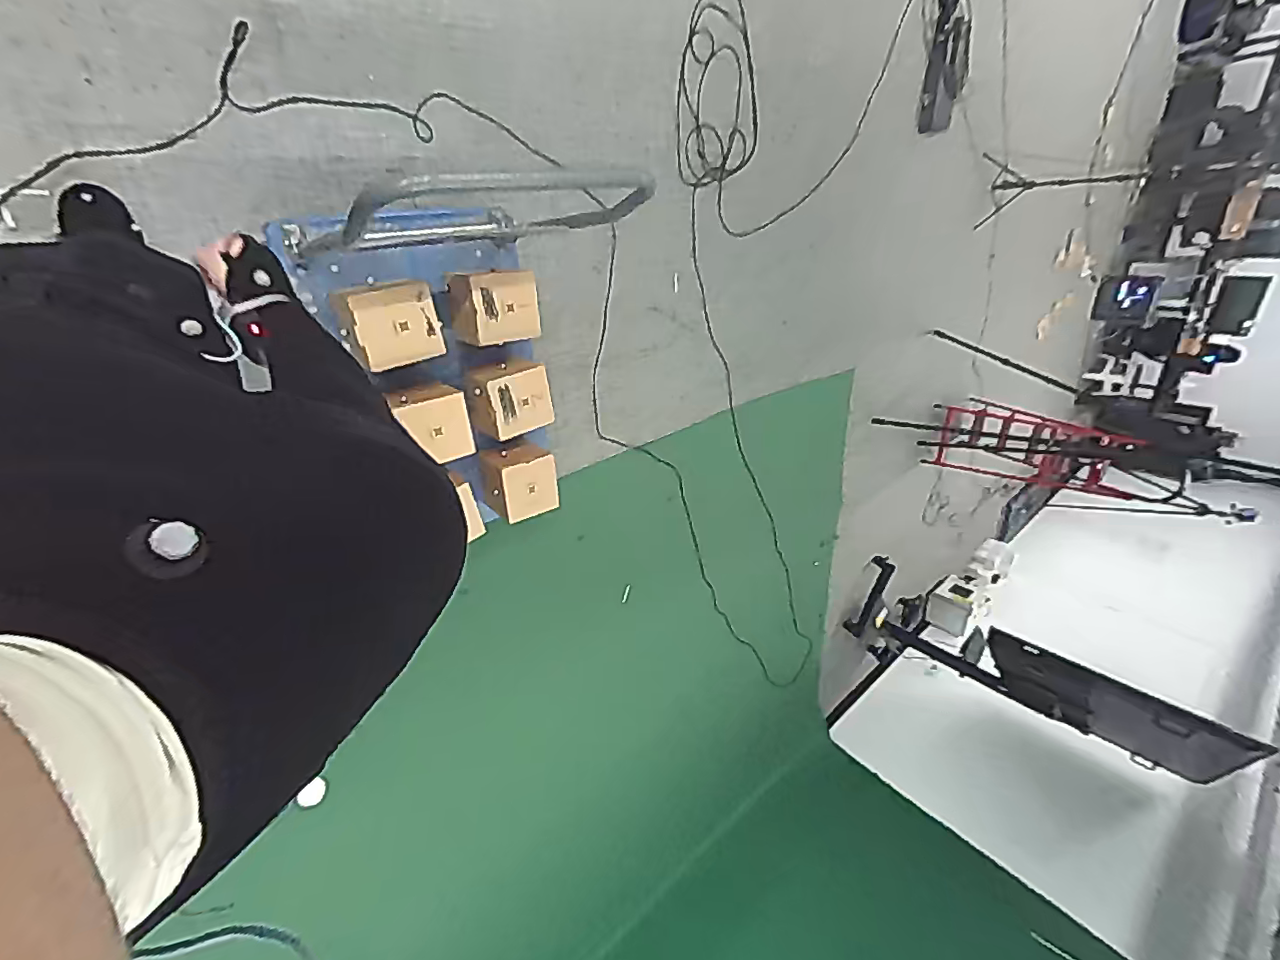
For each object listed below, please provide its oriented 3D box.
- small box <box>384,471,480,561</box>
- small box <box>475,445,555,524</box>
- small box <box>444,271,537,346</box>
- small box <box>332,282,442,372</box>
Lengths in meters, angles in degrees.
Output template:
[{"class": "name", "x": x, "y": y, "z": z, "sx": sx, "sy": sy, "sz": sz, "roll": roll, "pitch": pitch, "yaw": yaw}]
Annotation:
[{"class": "small box", "x": -0.563, "y": 0.088, "z": 1.465, "sx": 0.179, "sy": 0.176, "sz": 0.168, "roll": -23, "pitch": 119, "yaw": -33}, {"class": "small box", "x": -0.373, "y": 0.003, "z": 1.608, "sx": 0.168, "sy": 0.176, "sz": 0.179, "roll": -20, "pitch": 119, "yaw": -34}, {"class": "small box", "x": -0.390, "y": -0.448, "z": 1.400, "sx": 0.179, "sy": 0.176, "sz": 0.168, "roll": -21, "pitch": 121, "yaw": -35}, {"class": "small box", "x": -0.591, "y": -0.361, "z": 1.254, "sx": 0.179, "sy": 0.176, "sz": 0.168, "roll": -25, "pitch": 123, "yaw": -32}]
